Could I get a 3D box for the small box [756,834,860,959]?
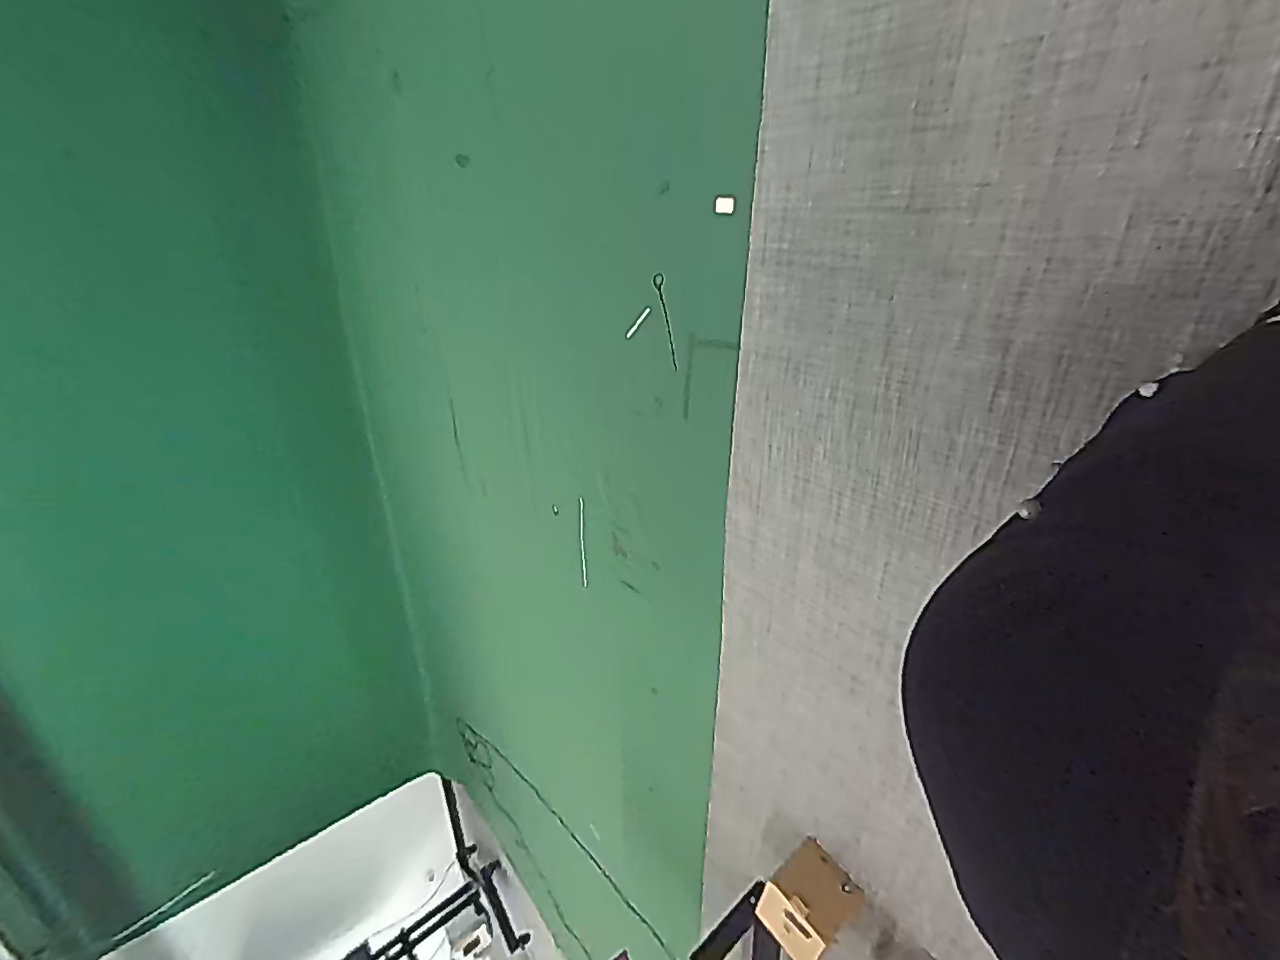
[{"bbox_3d":[0.422,1.042,1.356,0.168,0.176,0.179,35,131,40],"label":"small box"}]
